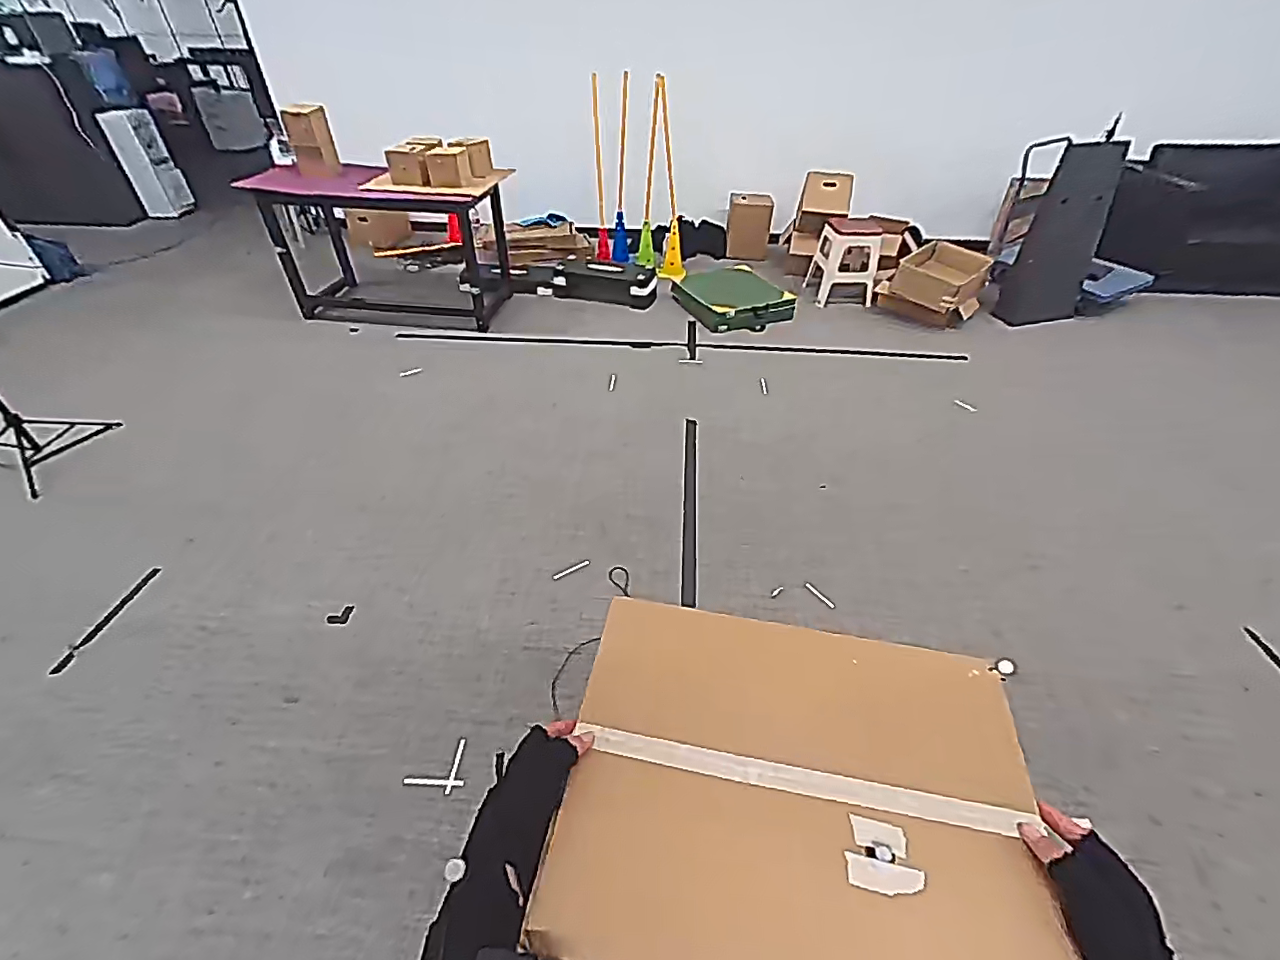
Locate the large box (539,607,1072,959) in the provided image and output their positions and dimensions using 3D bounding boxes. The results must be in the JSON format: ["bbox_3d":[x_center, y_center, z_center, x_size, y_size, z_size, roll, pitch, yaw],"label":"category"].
[{"bbox_3d":[0.141,0.381,0.590,0.408,0.320,0.320,9,45,8],"label":"large box"}]
